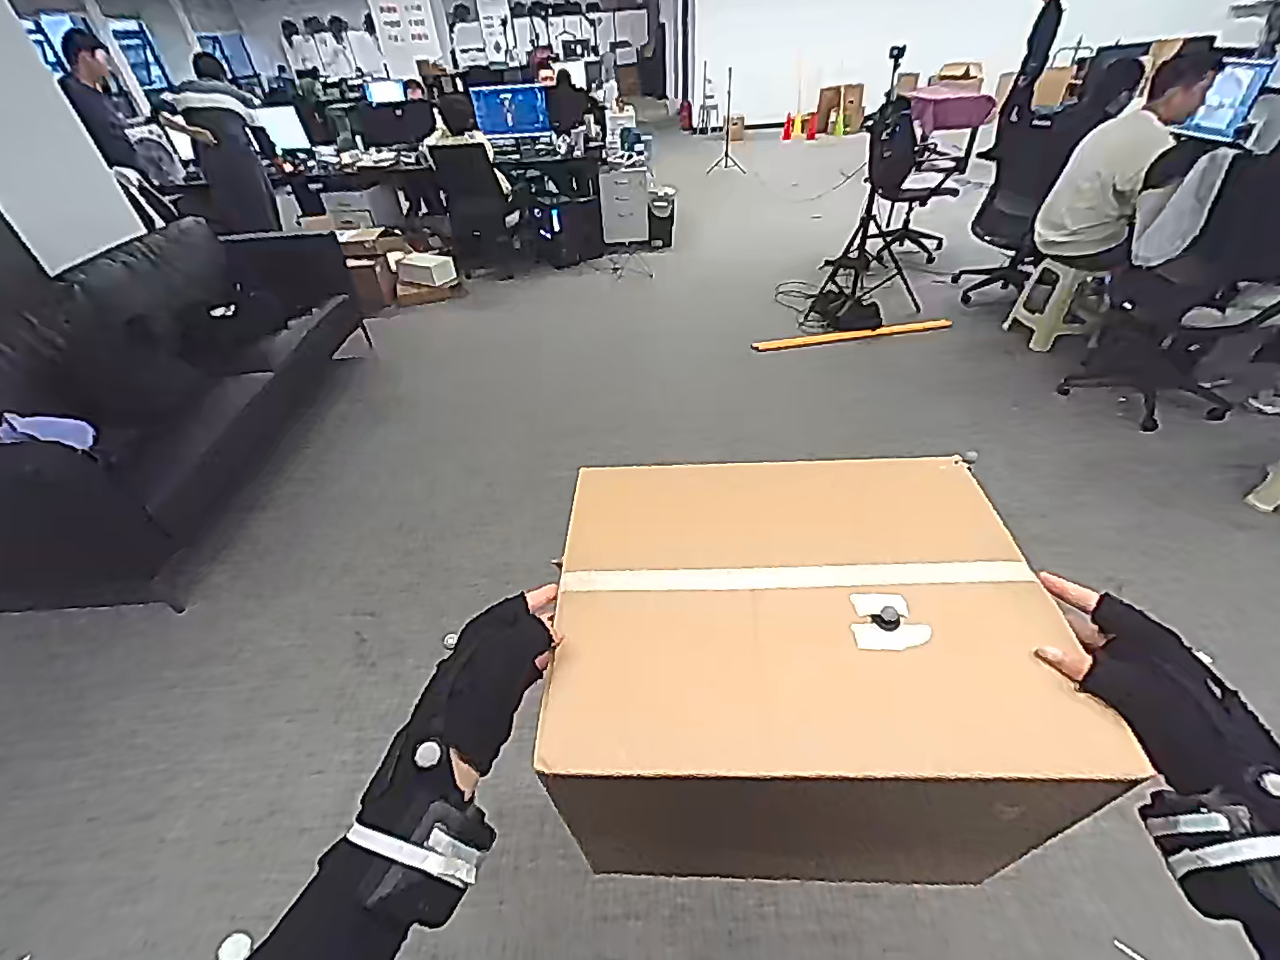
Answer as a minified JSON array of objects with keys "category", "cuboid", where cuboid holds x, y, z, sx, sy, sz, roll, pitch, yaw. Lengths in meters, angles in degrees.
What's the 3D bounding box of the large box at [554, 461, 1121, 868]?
[{"category":"large box","cuboid":[0.142,0.198,0.585,0.408,0.320,0.320,-1,44,3]}]
